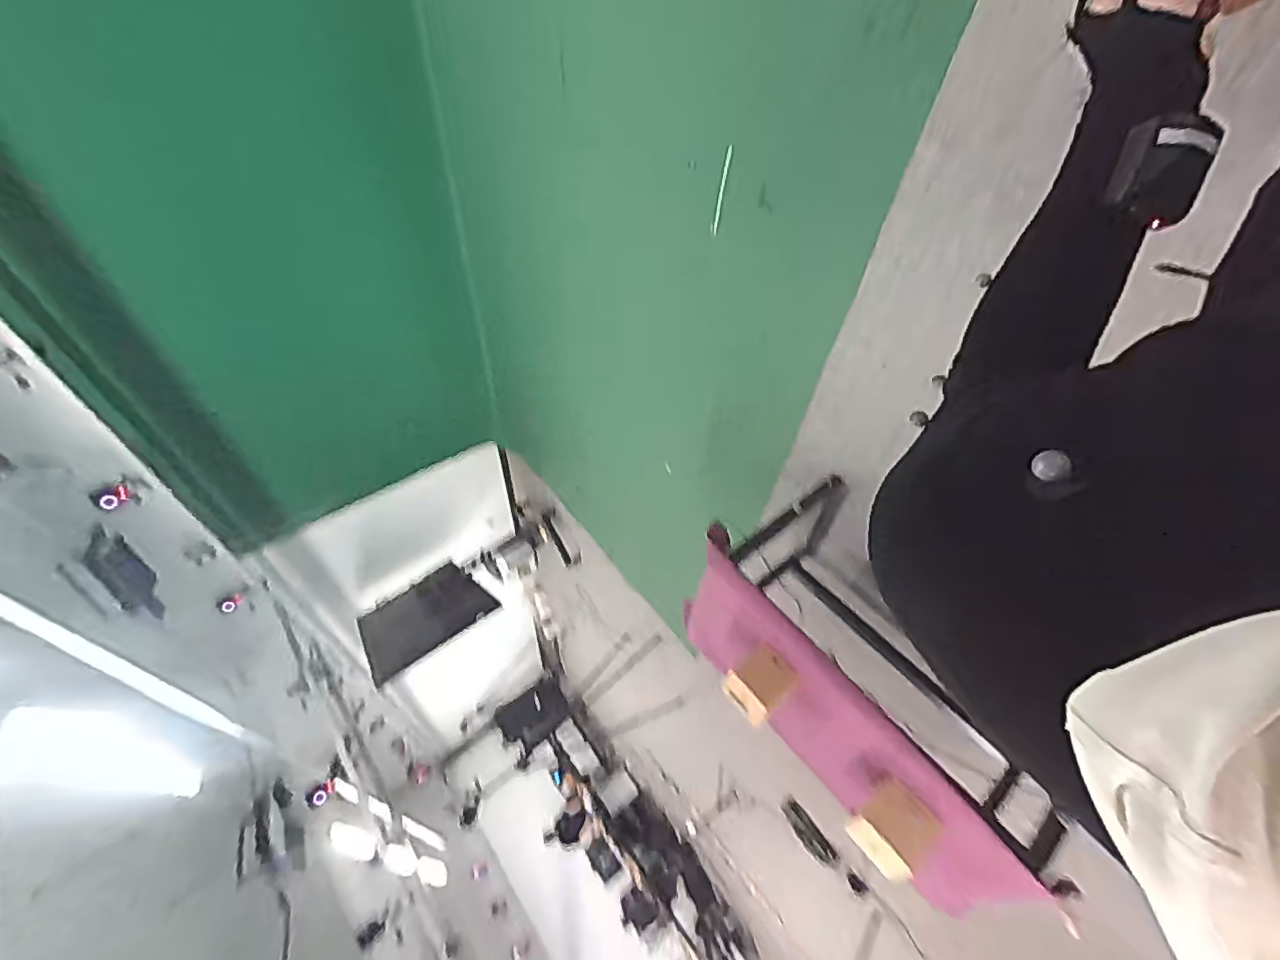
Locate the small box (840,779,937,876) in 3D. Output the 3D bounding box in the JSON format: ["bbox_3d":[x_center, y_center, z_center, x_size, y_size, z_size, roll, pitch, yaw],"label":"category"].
[{"bbox_3d":[0.730,1.019,1.588,0.168,0.176,0.179,45,150,28],"label":"small box"}]
